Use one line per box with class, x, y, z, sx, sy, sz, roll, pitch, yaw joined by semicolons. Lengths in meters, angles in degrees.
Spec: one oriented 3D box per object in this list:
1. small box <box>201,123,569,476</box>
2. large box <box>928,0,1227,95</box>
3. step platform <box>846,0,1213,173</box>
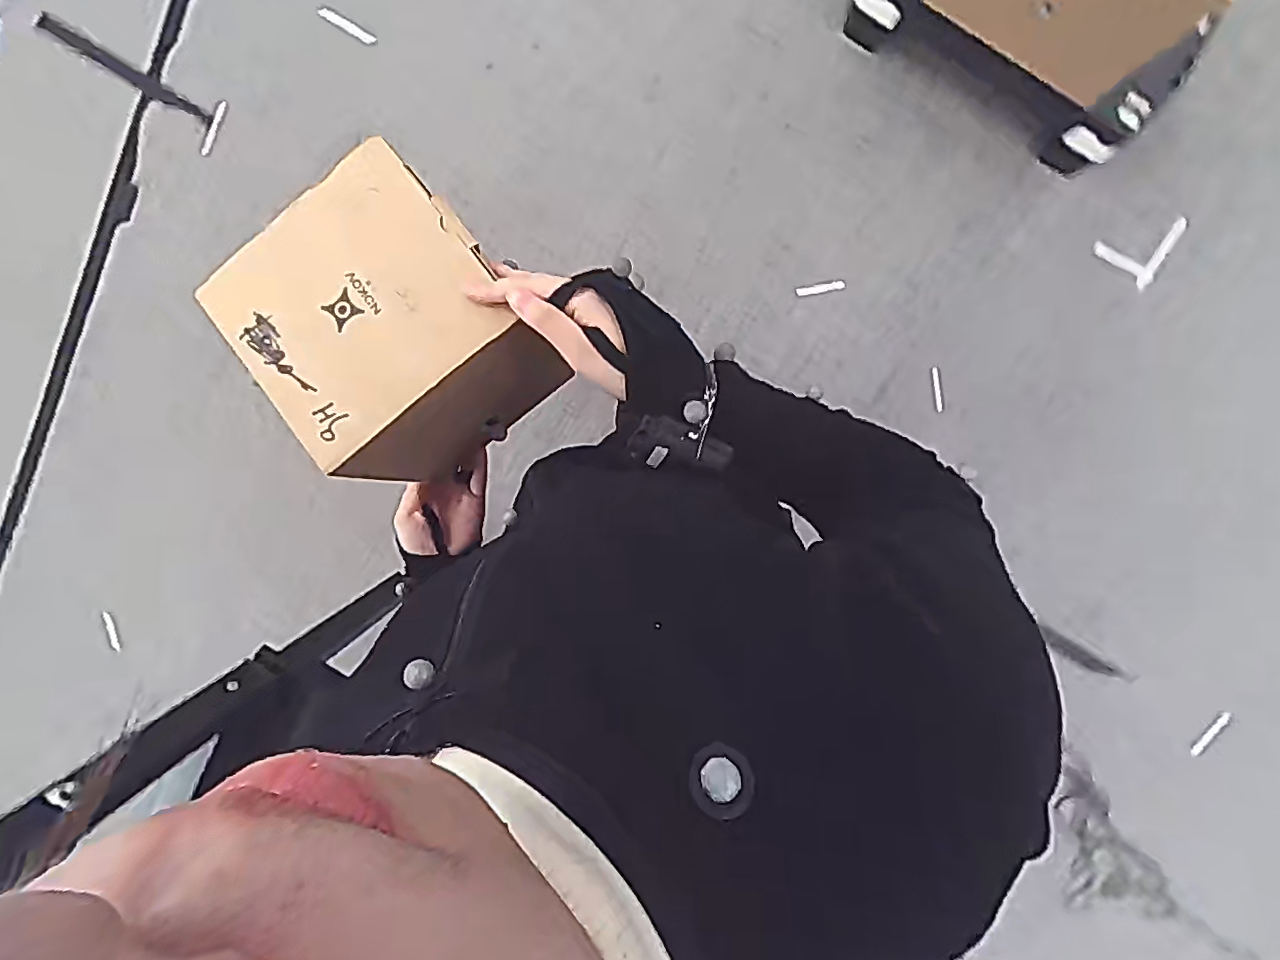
small box;-0.173;-0.119;0.432;0.179;0.176;0.168;-37;84;1
large box;0.798;-0.964;0.908;0.408;0.320;0.320;31;100;0
step platform;0.795;-0.997;1.145;0.684;0.204;0.286;37;101;-1
